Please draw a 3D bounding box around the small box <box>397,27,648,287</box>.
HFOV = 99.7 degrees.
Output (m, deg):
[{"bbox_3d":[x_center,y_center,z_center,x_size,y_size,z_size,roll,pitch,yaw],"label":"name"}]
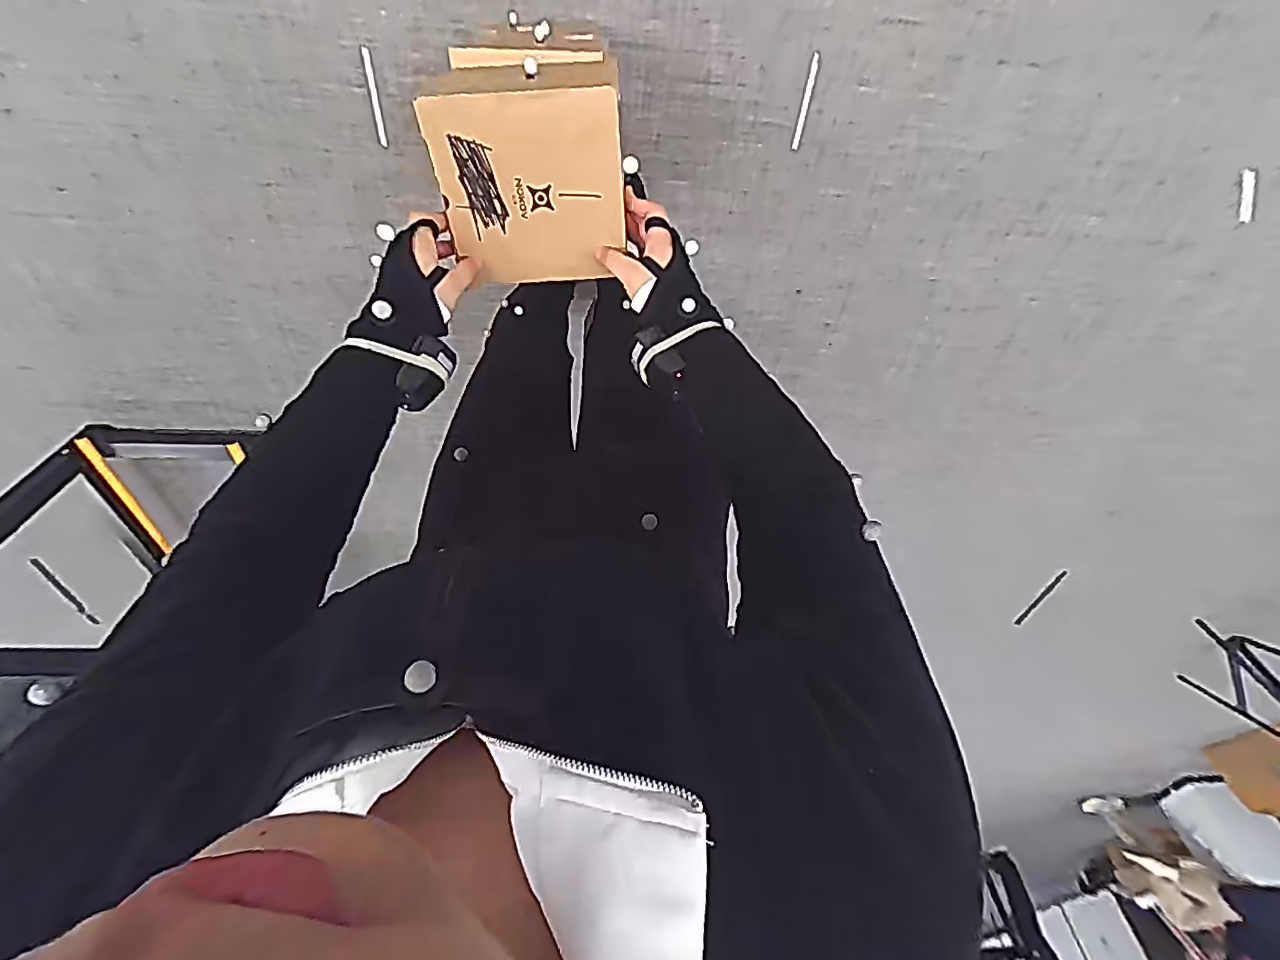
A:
[{"bbox_3d":[-0.084,-0.291,0.485,0.179,0.176,0.168,-4,135,-1],"label":"small box"}]
